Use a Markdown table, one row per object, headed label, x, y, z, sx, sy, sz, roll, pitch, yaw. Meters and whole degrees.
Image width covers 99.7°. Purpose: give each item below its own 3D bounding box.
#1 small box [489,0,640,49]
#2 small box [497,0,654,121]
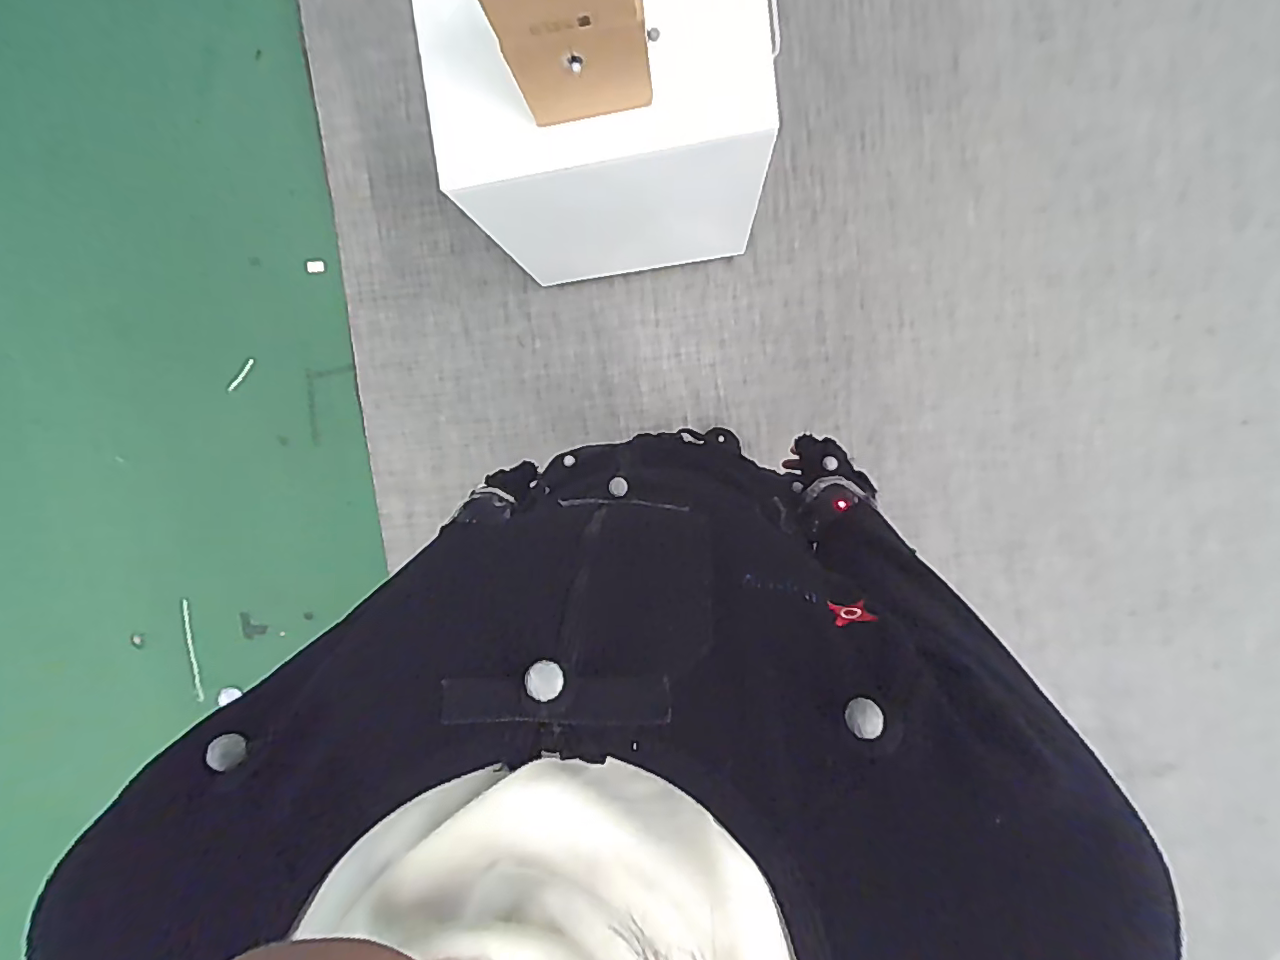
| label | x | y | z | sx | sy | sz | roll | pitch | yaw |
| --- | --- | --- | --- | --- | --- | --- | --- | --- | --- |
| small box | -0.096 | -0.596 | 0.547 | 0.168 | 0.176 | 0.179 | -8 | 95 | 5 |
| small box | -0.081 | -0.607 | 0.707 | 0.179 | 0.176 | 0.168 | -7 | 95 | 5 |
